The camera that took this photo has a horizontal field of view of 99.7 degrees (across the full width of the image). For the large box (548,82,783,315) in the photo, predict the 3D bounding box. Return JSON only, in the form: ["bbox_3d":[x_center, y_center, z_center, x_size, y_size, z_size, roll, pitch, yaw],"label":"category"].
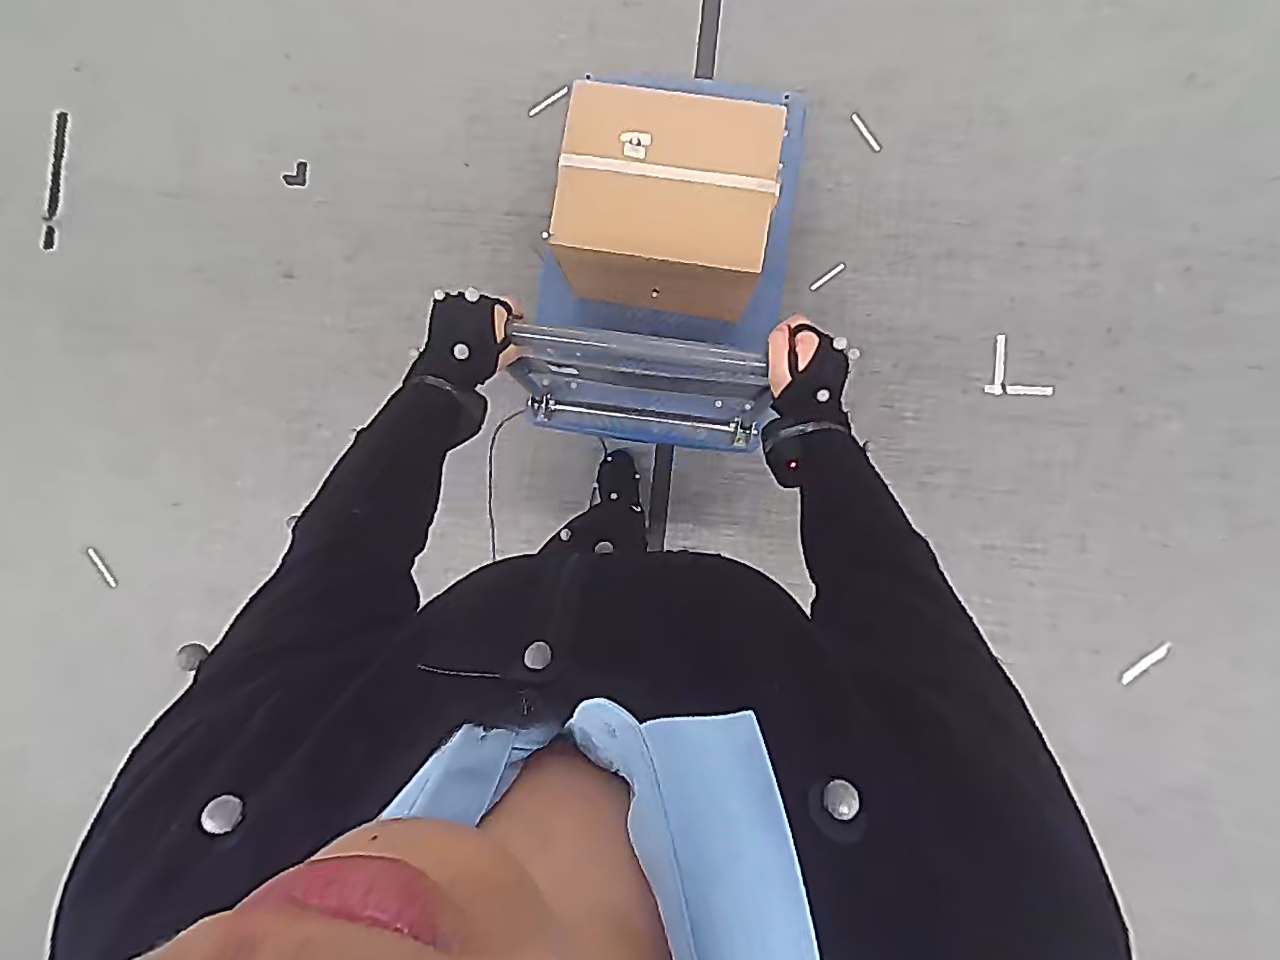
[{"bbox_3d":[0.057,-0.562,1.139,0.408,0.320,0.320,9,89,4],"label":"large box"}]
